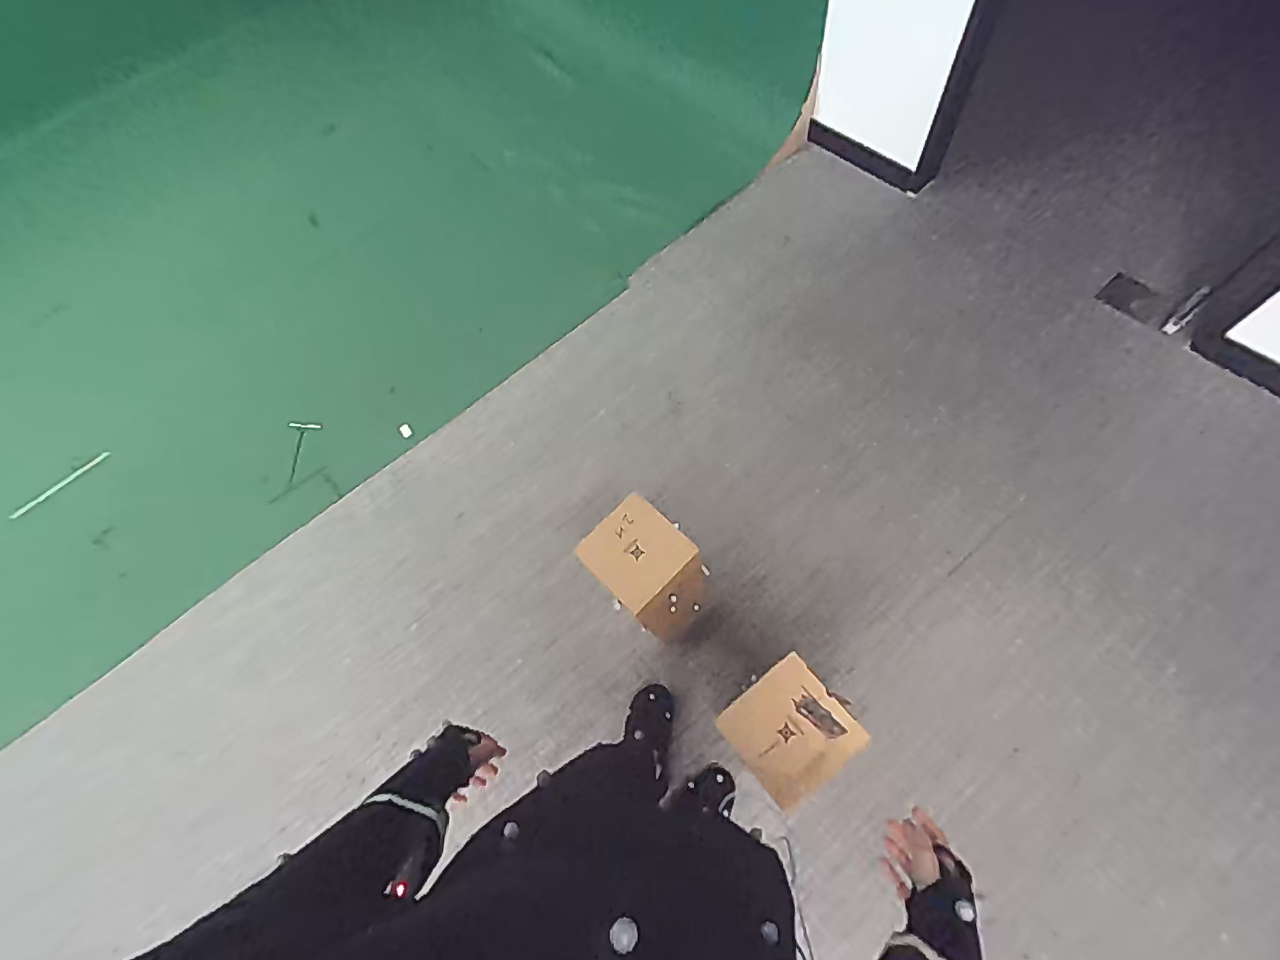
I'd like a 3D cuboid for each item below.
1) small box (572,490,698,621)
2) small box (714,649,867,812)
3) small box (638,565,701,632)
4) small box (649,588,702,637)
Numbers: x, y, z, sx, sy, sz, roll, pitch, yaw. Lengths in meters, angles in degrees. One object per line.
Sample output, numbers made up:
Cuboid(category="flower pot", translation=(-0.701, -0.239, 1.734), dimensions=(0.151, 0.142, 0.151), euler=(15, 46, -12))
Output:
Cuboid(category="small box", translation=(-0.001, 0.157, 1.058), dimensions=(0.168, 0.176, 0.179), euler=(-42, 66, -12))
Cuboid(category="small box", translation=(0.240, 0.412, 0.908), dimensions=(0.179, 0.176, 0.168), euler=(-38, 65, -9))
Cuboid(category="small box", translation=(0.020, 0.217, 1.211), dimensions=(0.168, 0.176, 0.179), euler=(-44, 67, -11))
Cuboid(category="small box", translation=(0.043, 0.277, 1.362), dimensions=(0.168, 0.176, 0.179), euler=(-43, 66, -11))
